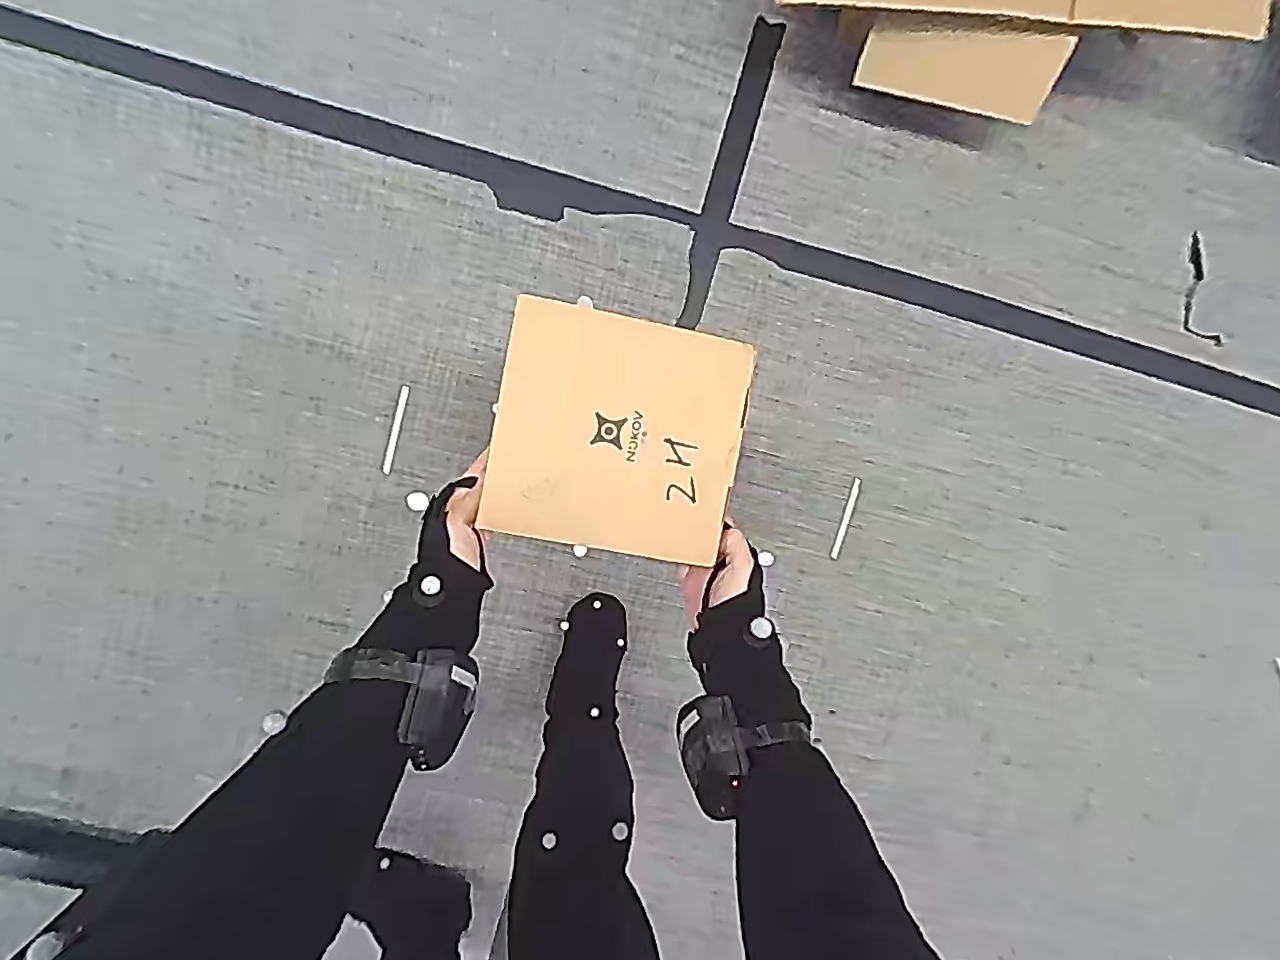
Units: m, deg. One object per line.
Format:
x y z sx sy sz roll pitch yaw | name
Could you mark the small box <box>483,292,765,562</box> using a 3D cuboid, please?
-0.019 -0.038 0.457 0.179 0.176 0.168 10 92 -8 | small box
